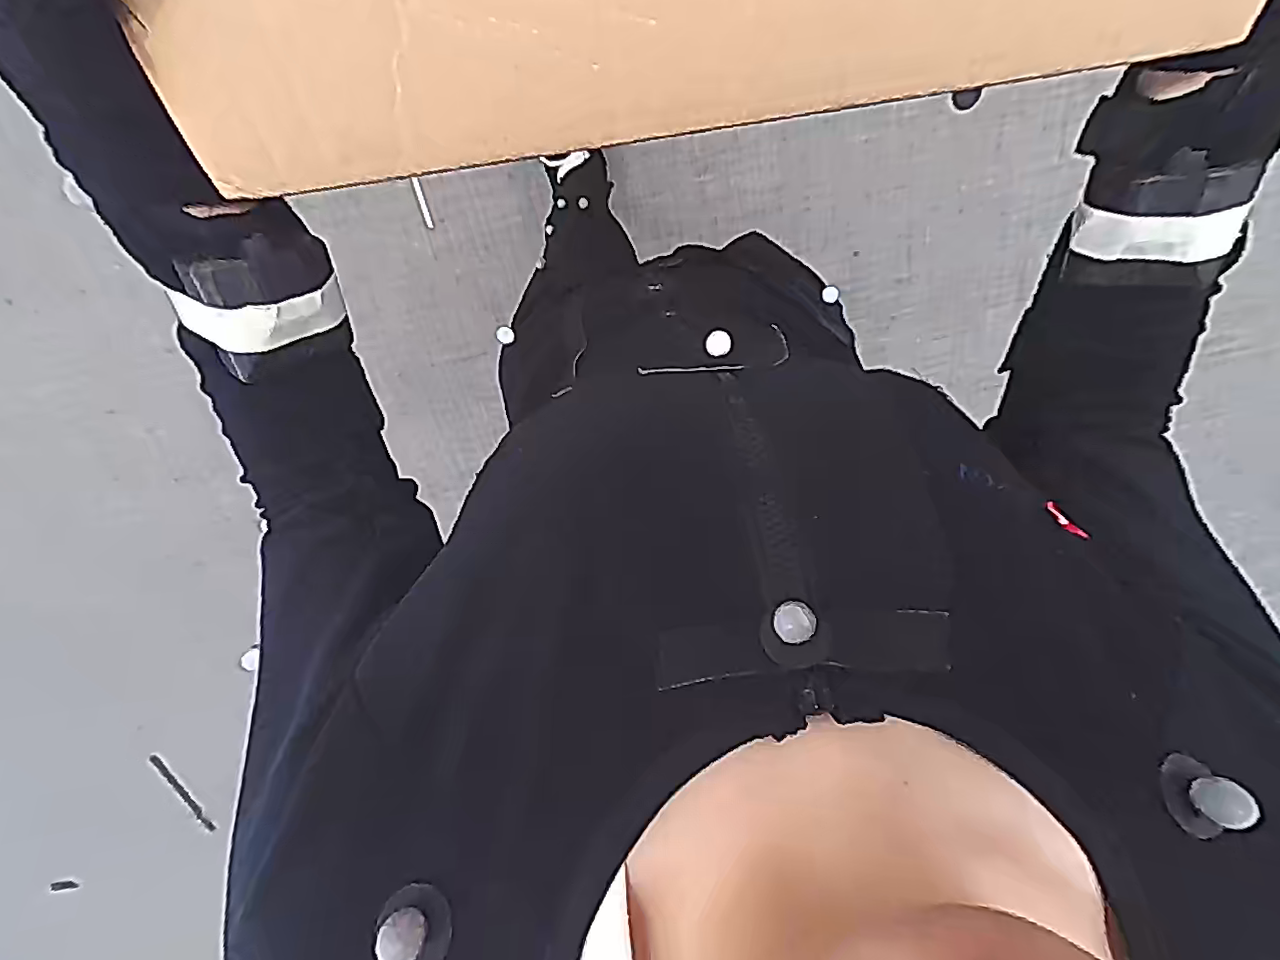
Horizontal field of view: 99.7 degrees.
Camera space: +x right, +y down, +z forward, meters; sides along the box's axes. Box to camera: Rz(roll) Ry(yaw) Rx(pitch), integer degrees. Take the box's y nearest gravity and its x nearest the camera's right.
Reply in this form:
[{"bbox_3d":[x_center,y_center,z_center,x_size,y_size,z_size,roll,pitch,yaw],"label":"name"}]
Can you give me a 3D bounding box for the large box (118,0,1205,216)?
[{"bbox_3d":[-0.003,-0.353,0.241,0.408,0.320,0.320,-7,130,3],"label":"large box"}]
